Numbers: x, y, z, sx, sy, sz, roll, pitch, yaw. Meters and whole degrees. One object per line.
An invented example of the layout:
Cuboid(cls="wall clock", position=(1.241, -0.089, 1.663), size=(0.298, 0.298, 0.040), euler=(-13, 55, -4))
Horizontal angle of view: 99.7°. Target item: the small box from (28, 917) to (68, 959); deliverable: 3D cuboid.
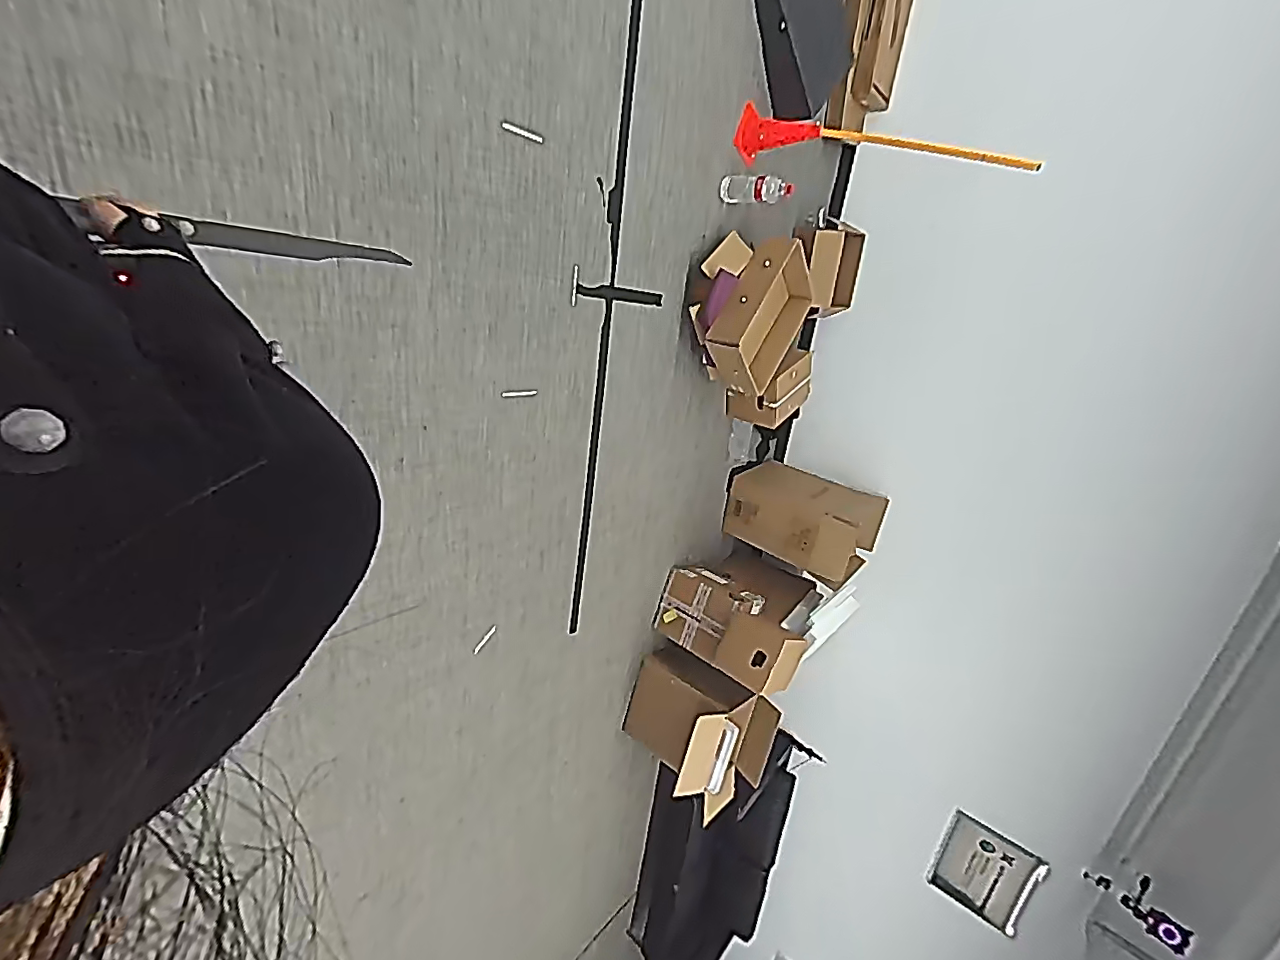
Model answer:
Cuboid(cls="small box", position=(-1.427, 1.146, 1.217), size=(0.168, 0.176, 0.179), euler=(-24, 126, -45))

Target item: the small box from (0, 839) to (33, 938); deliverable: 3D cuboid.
Cuboid(cls="small box", position=(-1.401, 0.887, 1.110), size=(0.168, 0.176, 0.179), euler=(-18, 123, -48))

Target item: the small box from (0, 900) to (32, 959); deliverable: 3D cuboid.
Cuboid(cls="small box", position=(-1.279, 0.950, 1.019), size=(0.168, 0.176, 0.179), euler=(-14, 120, -50))
